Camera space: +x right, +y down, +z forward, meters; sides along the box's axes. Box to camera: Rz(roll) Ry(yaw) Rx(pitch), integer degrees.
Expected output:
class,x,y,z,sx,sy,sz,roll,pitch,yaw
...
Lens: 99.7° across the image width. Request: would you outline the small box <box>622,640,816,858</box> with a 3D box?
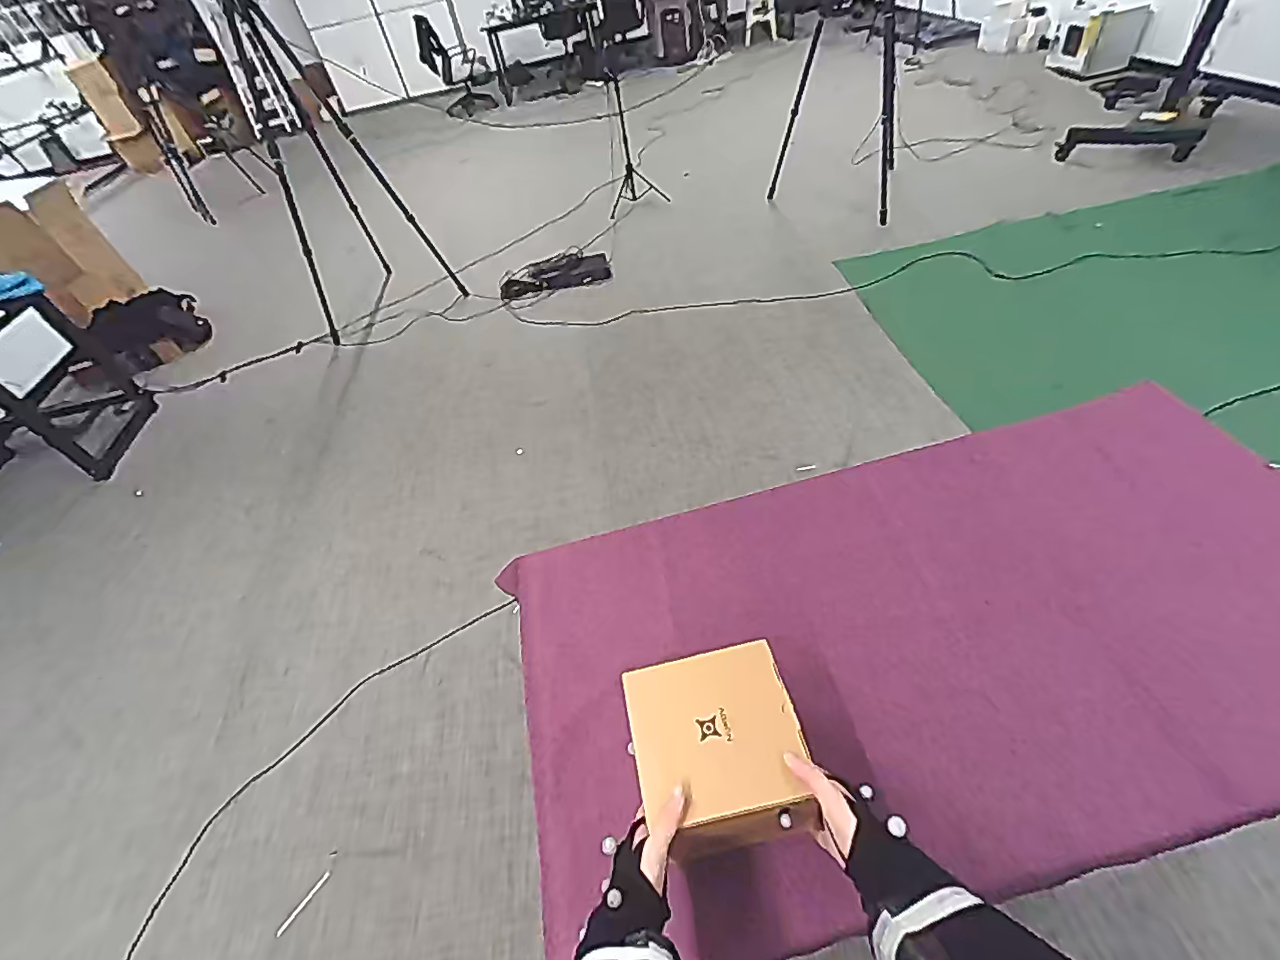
class,x,y,z,sx,sy,sz,roll,pitch,yaw
small box,0.090,0.318,0.634,0.179,0.176,0.168,-14,46,0
